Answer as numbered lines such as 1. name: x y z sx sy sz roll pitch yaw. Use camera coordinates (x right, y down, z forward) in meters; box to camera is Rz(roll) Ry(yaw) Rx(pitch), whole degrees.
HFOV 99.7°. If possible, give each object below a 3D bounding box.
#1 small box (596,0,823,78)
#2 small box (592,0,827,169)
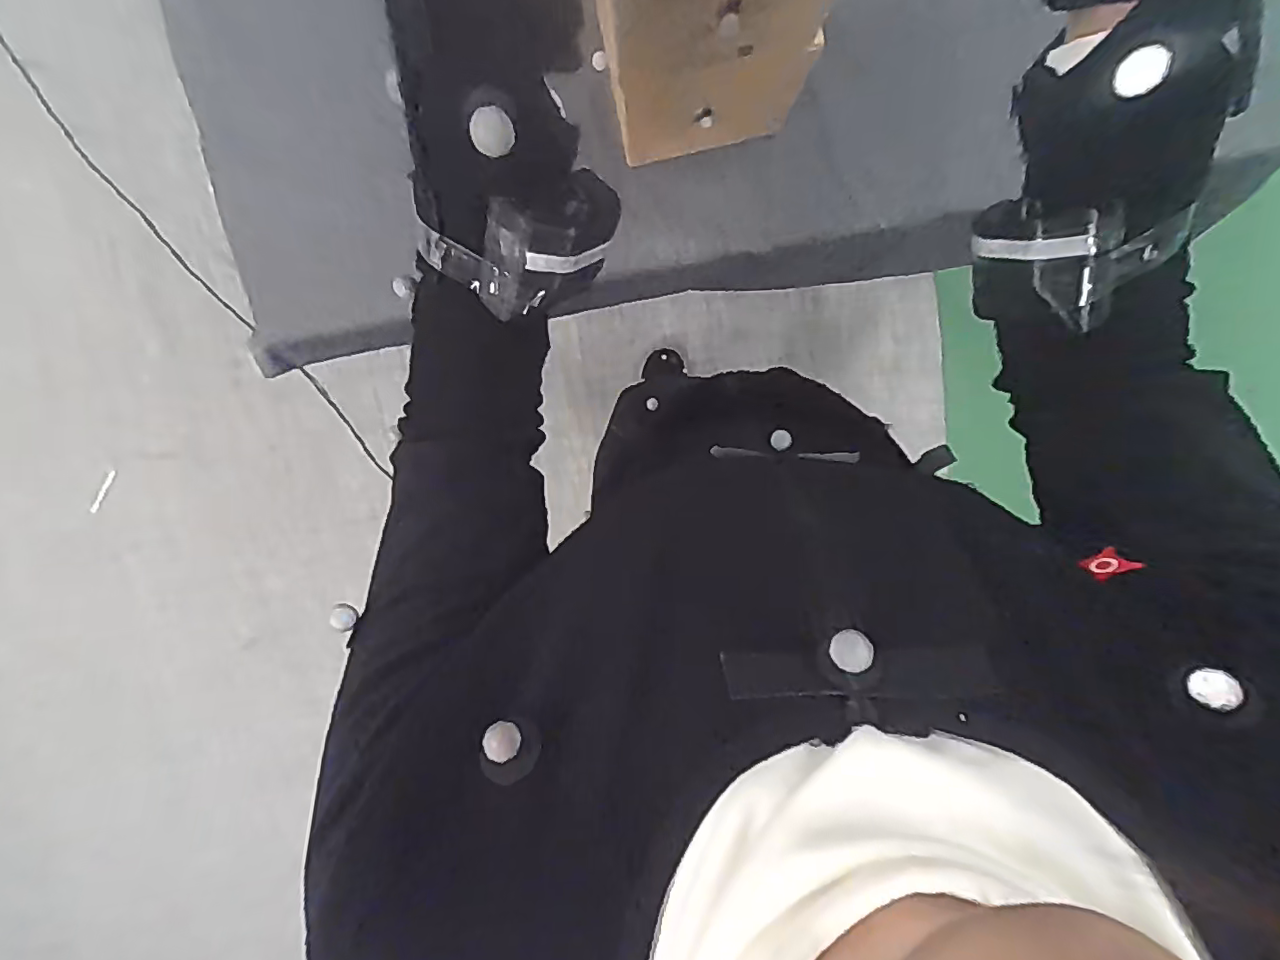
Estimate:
1. small box: 0.042 -0.406 0.358 0.168 0.176 0.179 -11 101 3
2. small box: 0.053 -0.432 0.519 0.179 0.176 0.168 -15 100 2
